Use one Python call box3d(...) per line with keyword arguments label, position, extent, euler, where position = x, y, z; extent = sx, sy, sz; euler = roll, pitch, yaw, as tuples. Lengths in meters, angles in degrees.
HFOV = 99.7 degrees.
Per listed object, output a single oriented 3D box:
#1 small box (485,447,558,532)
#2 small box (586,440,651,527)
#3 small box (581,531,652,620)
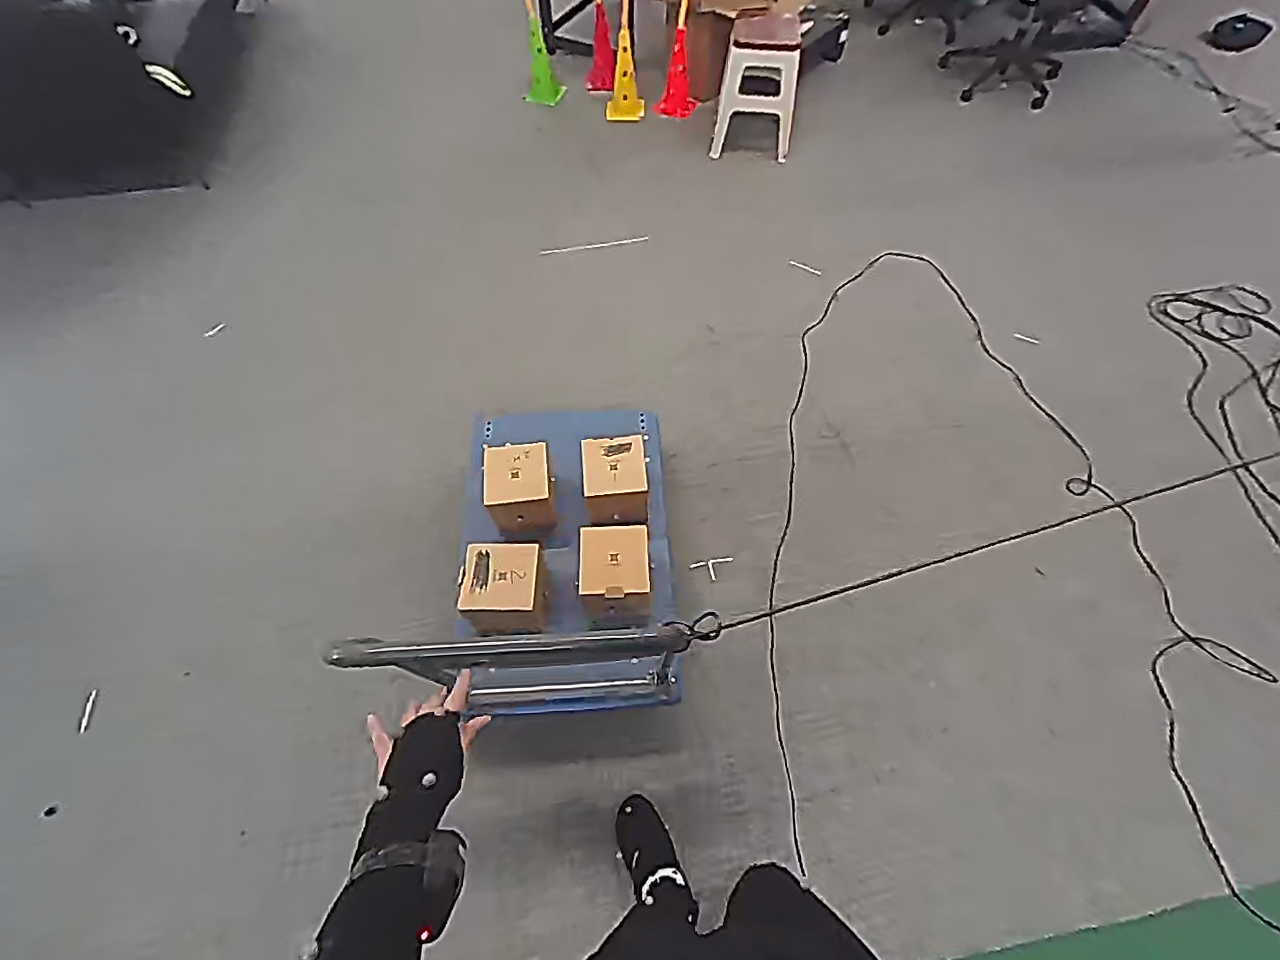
box3d(label="small box", position=(-0.316, 0.032, 1.469), extent=(0.168, 0.176, 0.179), euler=(-6, 61, -4))
box3d(label="small box", position=(-0.060, 0.012, 1.479), extent=(0.168, 0.176, 0.179), euler=(-5, 61, -1))
box3d(label="small box", position=(-0.056, 0.241, 1.351), extent=(0.168, 0.176, 0.179), euler=(-2, 61, -1))
